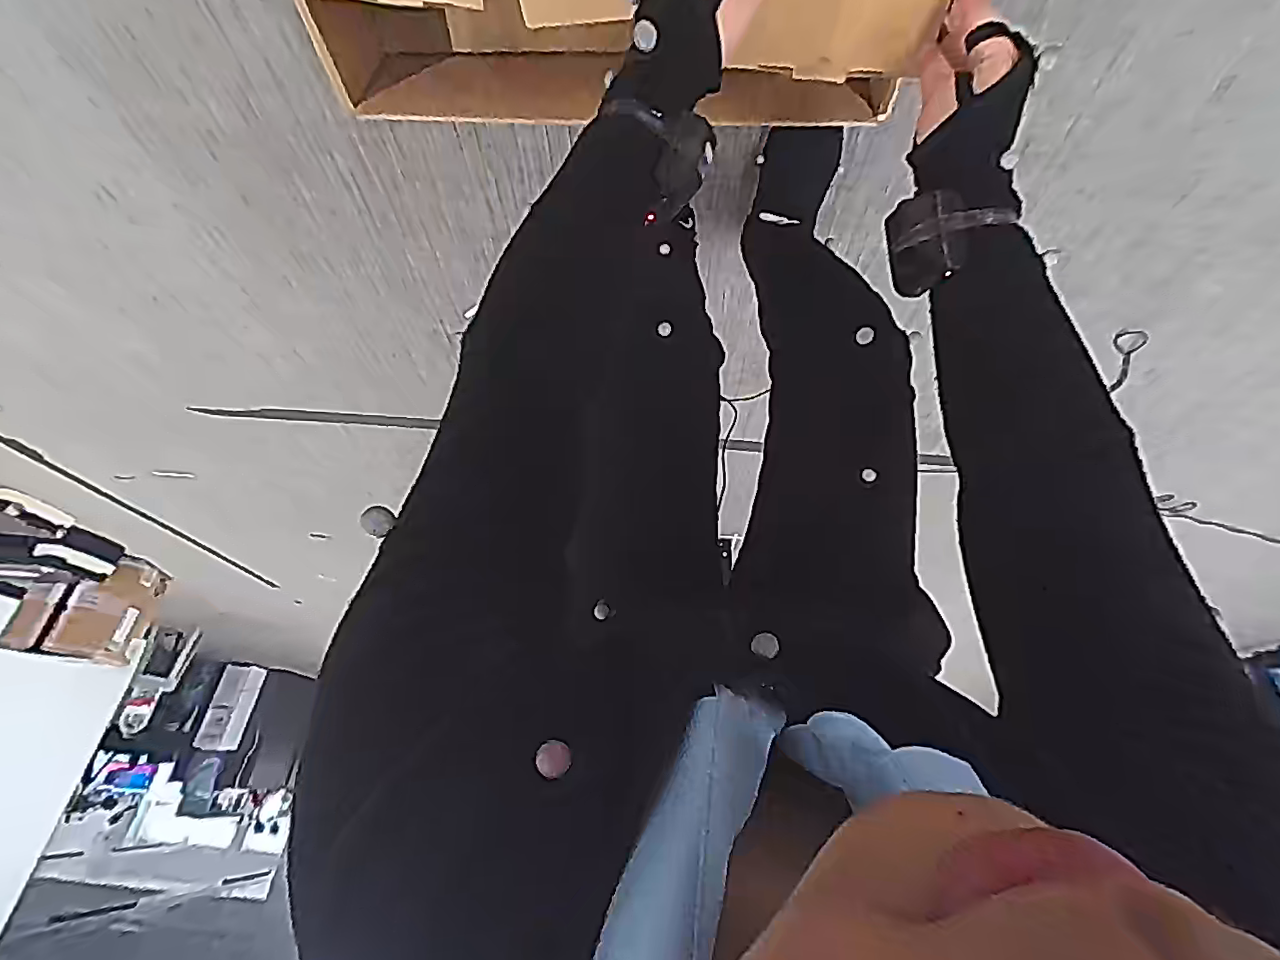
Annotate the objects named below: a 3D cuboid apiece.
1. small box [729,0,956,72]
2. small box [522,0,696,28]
[{"bbox_3d":[0.162,-0.451,0.409,0.168,0.176,0.179,6,152,5],"label":"small box"},{"bbox_3d":[-0.030,-0.546,0.475,0.168,0.176,0.179,0,150,6],"label":"small box"}]
